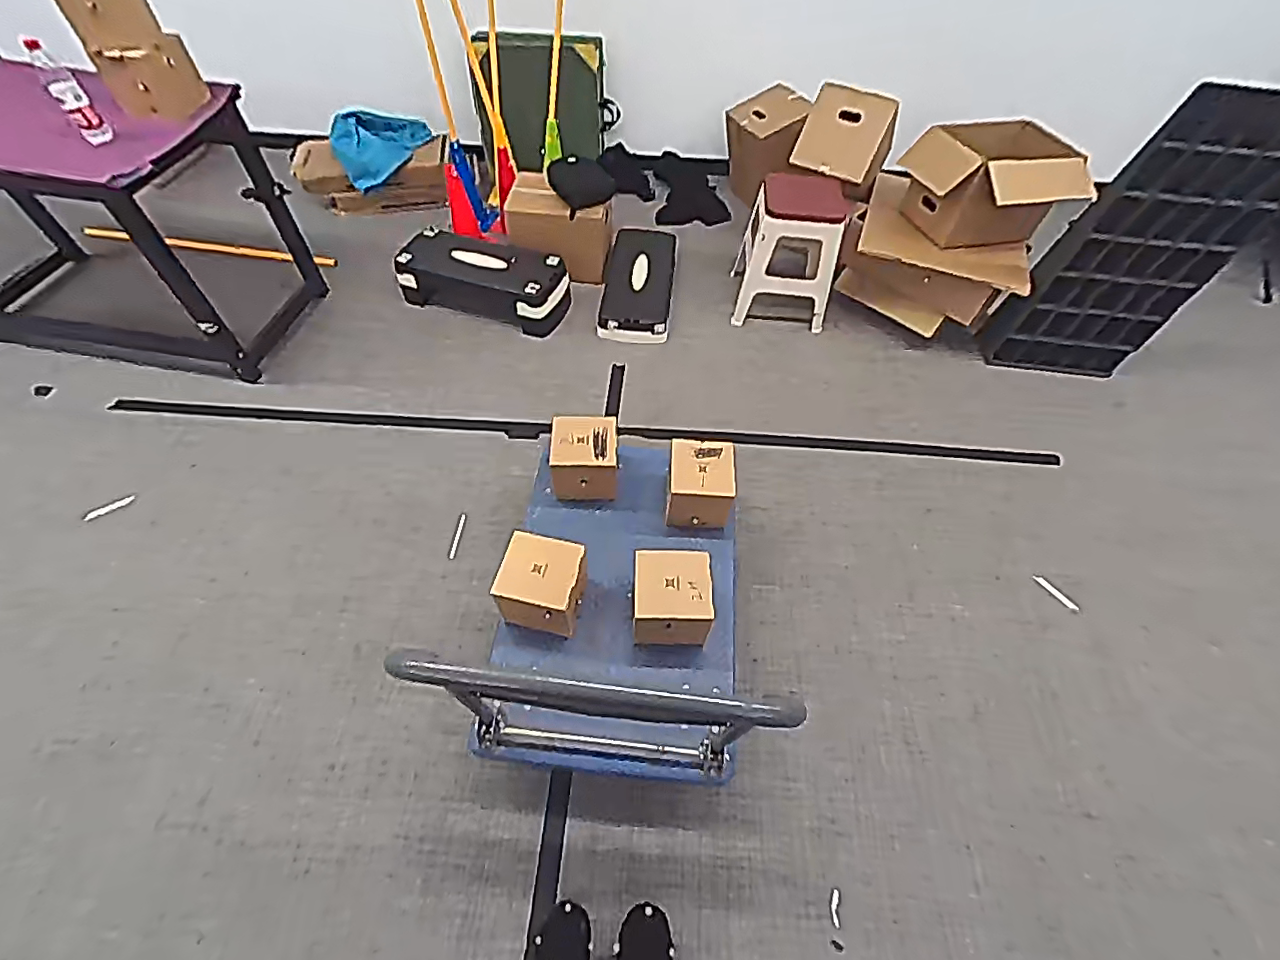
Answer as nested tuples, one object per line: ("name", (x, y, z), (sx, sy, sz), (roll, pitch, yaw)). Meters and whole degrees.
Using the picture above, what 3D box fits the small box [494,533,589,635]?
("small box", (-0.227, 0.253, 1.293), (0.179, 0.176, 0.168), (12, 55, 4))

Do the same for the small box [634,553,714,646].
("small box", (0.075, 0.287, 1.284), (0.179, 0.176, 0.168), (2, 55, -1))

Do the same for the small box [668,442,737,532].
("small box", (0.166, 0.021, 1.476), (0.168, 0.176, 0.179), (4, 56, 0))
